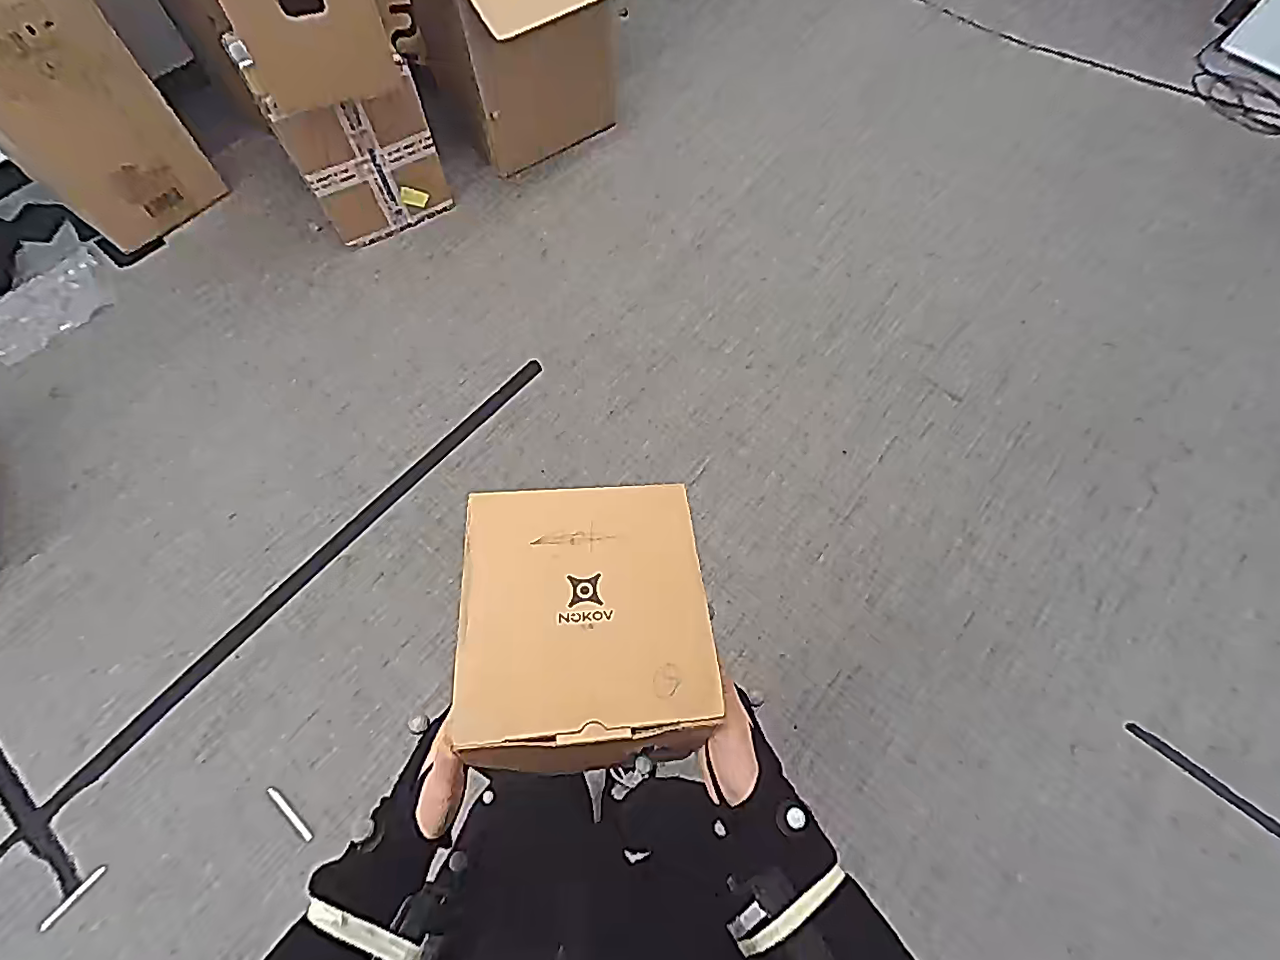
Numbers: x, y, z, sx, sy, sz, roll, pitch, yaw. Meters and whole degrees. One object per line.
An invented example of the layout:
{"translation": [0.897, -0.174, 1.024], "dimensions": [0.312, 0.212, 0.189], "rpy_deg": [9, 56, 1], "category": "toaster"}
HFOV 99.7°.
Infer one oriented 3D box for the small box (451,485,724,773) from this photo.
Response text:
{"translation": [-0.043, 0.124, 0.430], "dimensions": [0.168, 0.176, 0.179], "rpy_deg": [-2, 55, -9], "category": "small box"}
